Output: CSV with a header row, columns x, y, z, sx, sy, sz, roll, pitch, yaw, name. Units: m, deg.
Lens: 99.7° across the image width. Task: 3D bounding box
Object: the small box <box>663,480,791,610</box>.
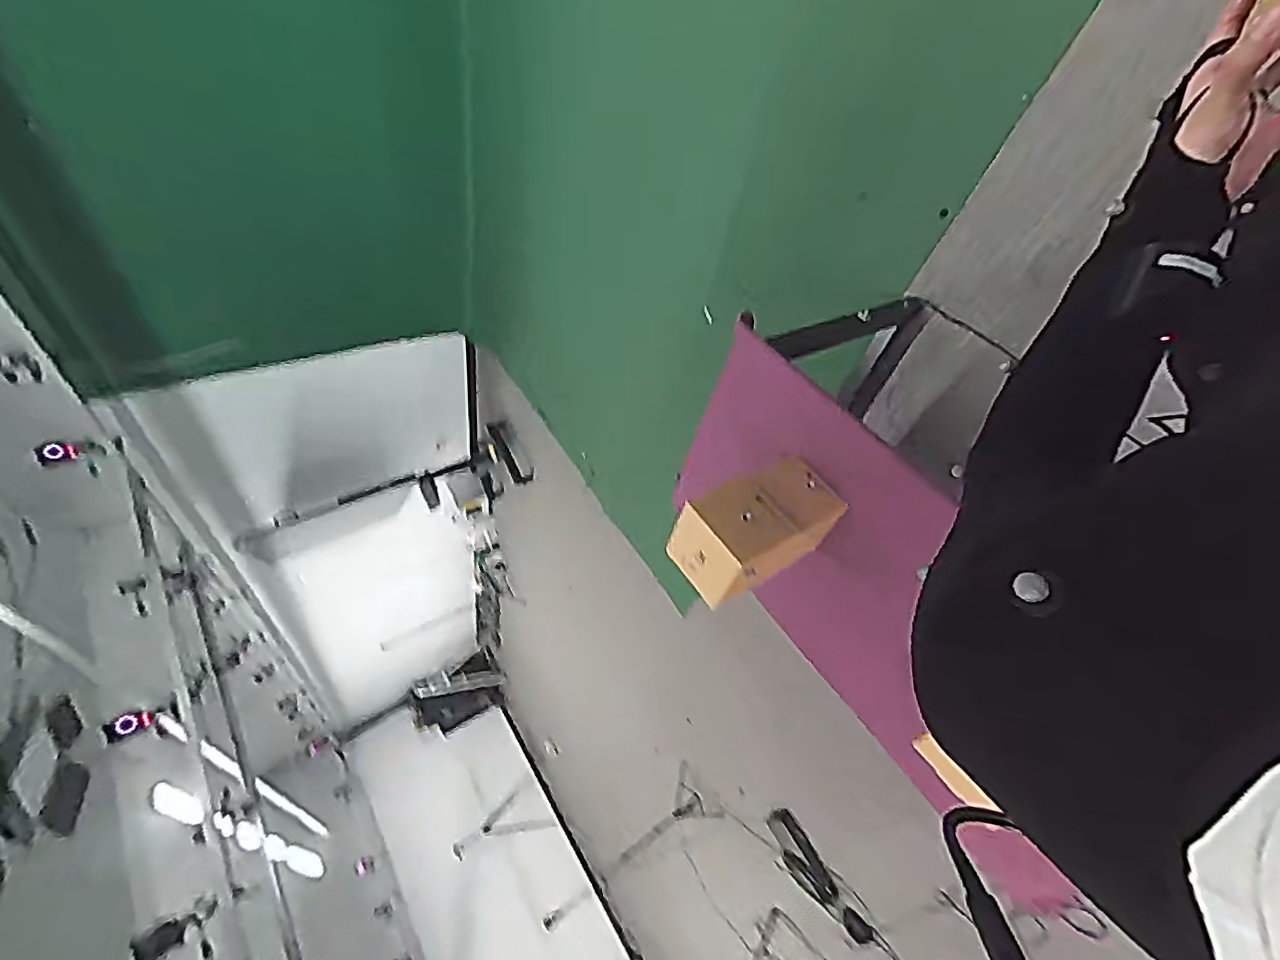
x,y,z,sx,sy,sz,roll,pitch,yaw,name
0.178,0.128,1.104,0.168,0.176,0.179,50,146,26,small box
